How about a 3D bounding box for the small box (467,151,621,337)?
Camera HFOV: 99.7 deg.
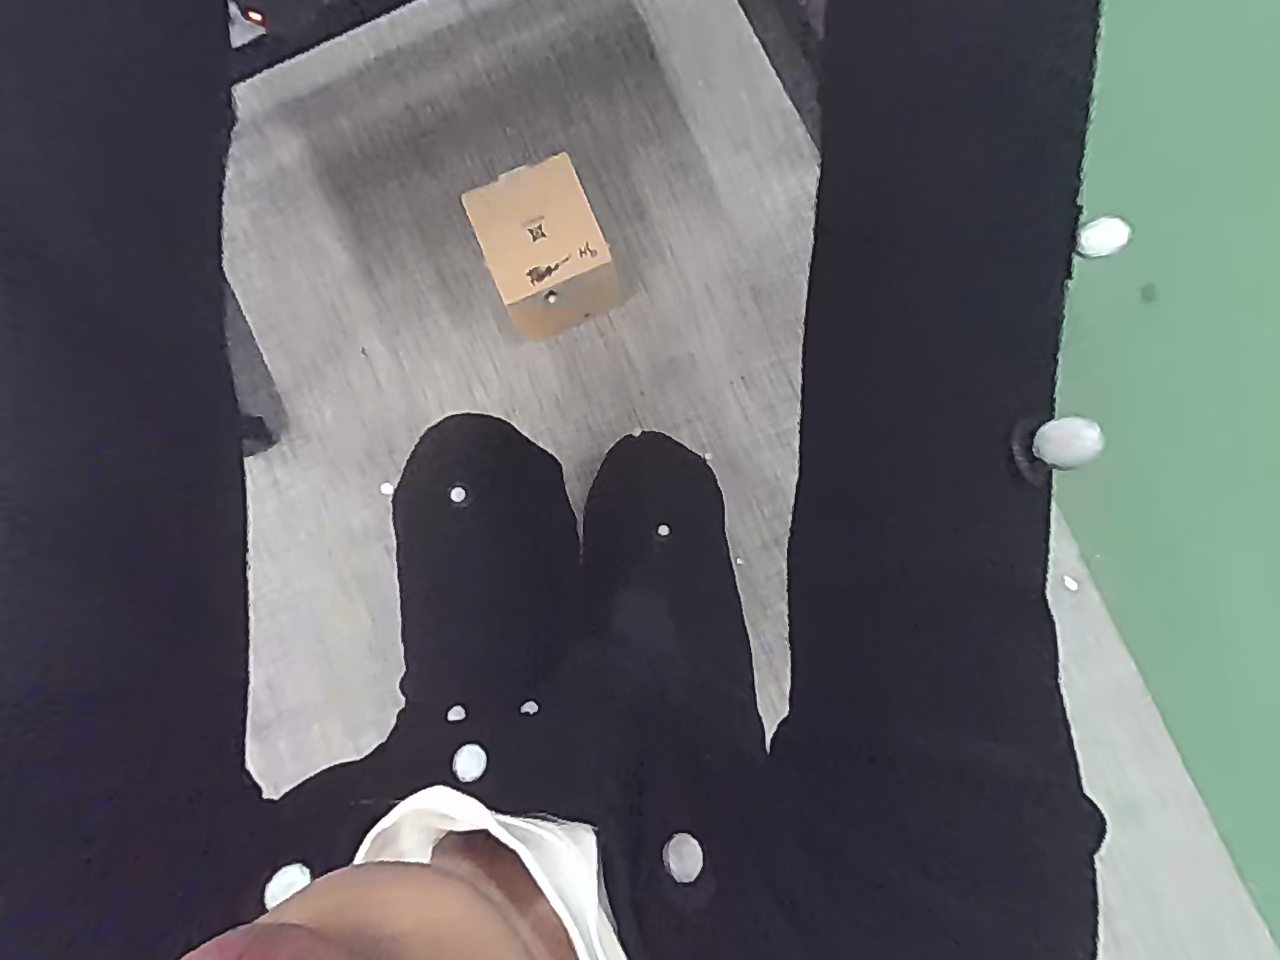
[{"bbox_3d":[-0.139,-0.353,0.840,0.168,0.176,0.179,-23,85,2],"label":"small box"}]
